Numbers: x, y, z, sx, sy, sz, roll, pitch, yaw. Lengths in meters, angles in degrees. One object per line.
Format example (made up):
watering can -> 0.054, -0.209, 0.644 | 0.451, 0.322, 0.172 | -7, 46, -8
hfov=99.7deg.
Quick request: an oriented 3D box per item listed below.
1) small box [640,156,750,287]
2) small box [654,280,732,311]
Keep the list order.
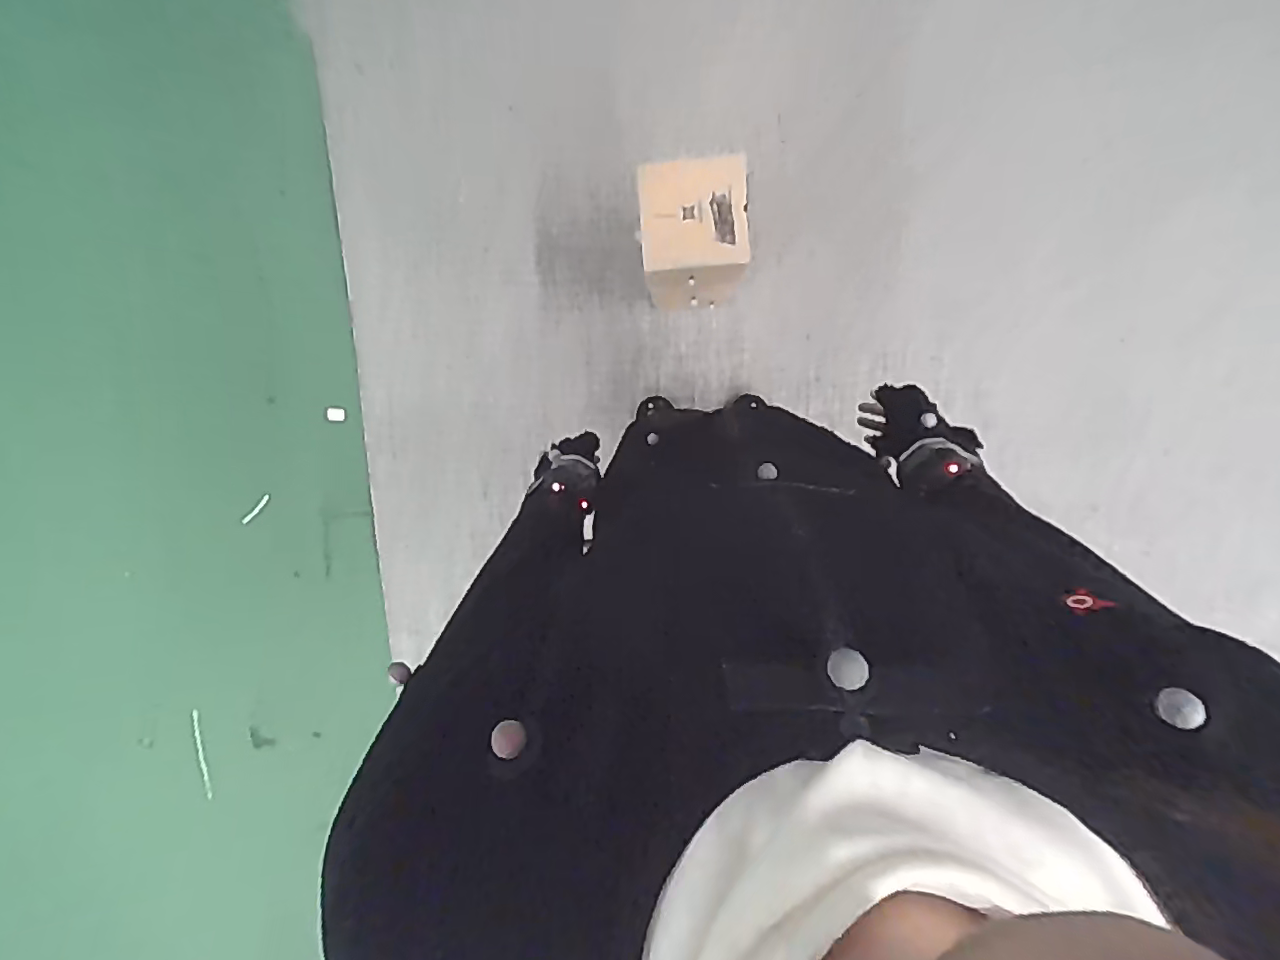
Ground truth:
small box -> 0.091, -0.441, 0.944 | 0.179, 0.176, 0.168 | 0, 98, 4
small box -> 0.121, -0.497, 1.269 | 0.179, 0.176, 0.168 | -3, 99, 6
